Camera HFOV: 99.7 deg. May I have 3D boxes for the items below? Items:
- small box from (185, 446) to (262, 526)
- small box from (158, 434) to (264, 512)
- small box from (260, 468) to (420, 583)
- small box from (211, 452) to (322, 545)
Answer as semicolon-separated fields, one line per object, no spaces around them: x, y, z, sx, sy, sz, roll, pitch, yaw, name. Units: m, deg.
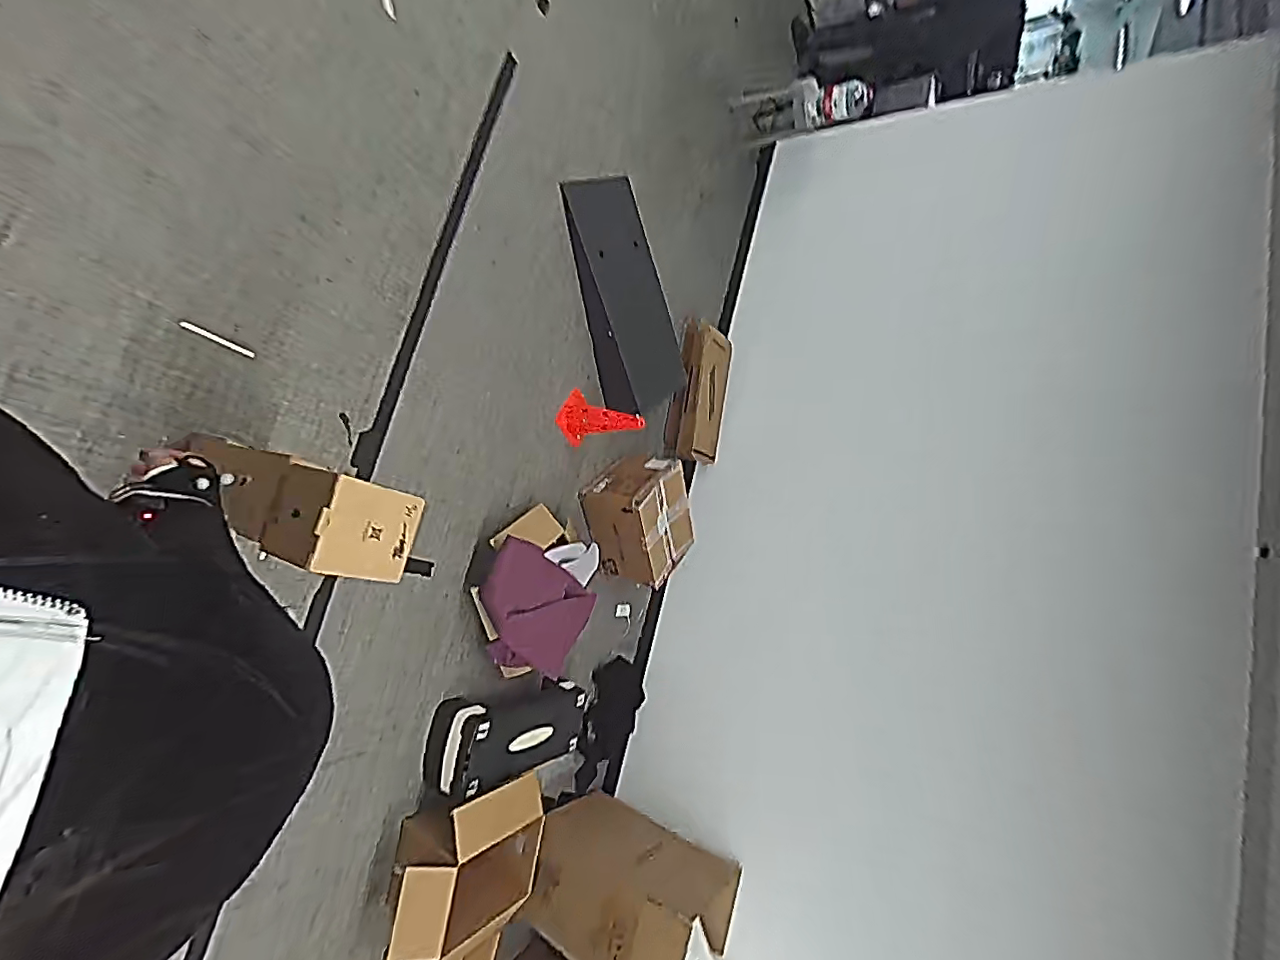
-0.818;0.034;1.164;0.179;0.176;0.168;37;66;-55;small box
-0.957;0.004;1.248;0.168;0.176;0.179;37;66;-55;small box
-0.547;0.081;0.988;0.179;0.176;0.168;31;71;-56;small box
-0.688;0.051;1.067;0.179;0.176;0.168;37;66;-54;small box
